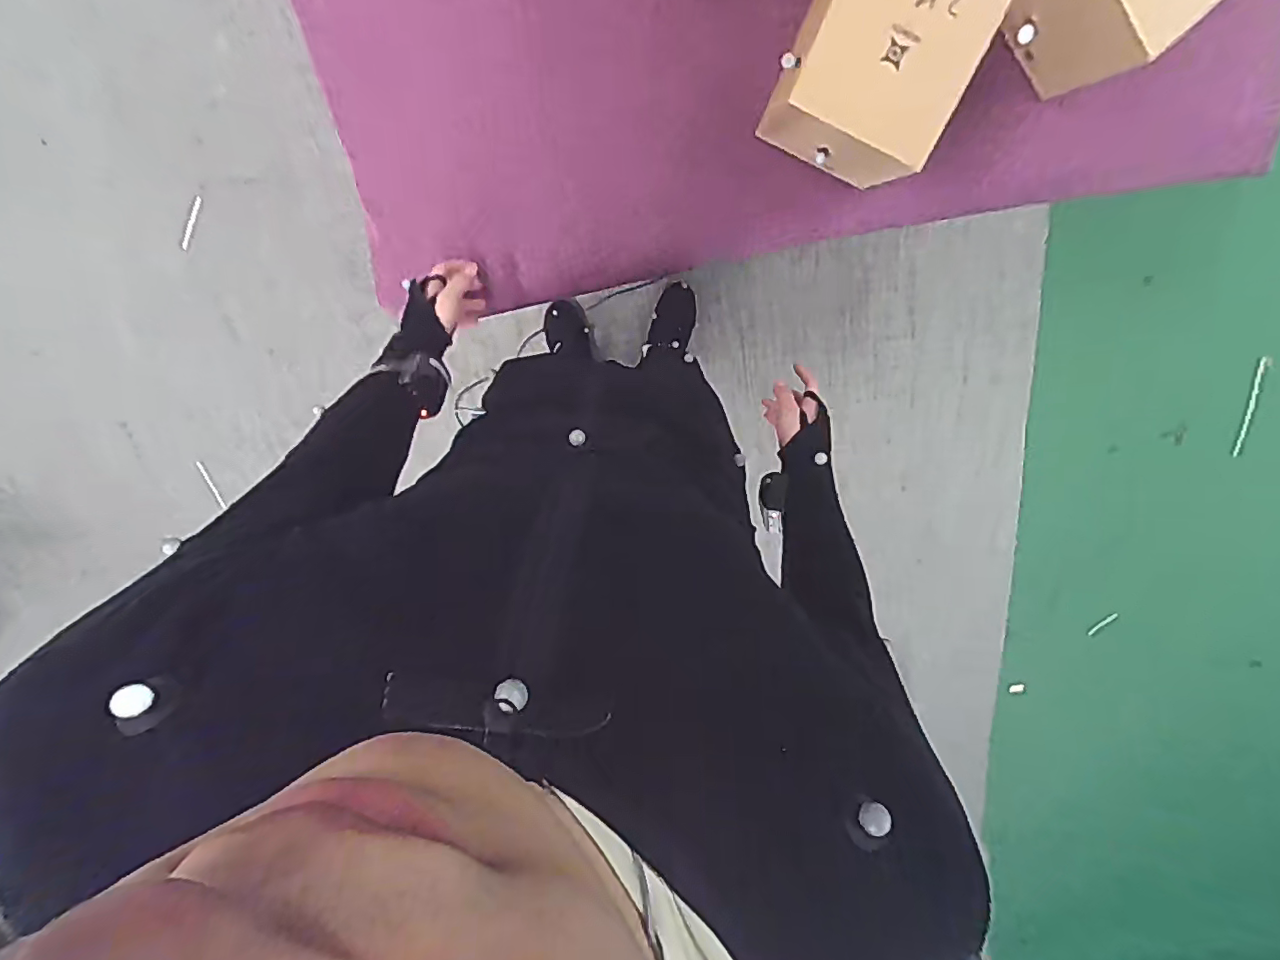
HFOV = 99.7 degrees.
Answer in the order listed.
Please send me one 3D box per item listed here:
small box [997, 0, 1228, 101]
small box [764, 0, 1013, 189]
[{"bbox_3d":[0.523,-0.559,0.580,0.179,0.176,0.168,-42,107,17],"label":"small box"},{"bbox_3d":[0.259,-0.460,0.618,0.168,0.176,0.179,22,110,-10],"label":"small box"}]
